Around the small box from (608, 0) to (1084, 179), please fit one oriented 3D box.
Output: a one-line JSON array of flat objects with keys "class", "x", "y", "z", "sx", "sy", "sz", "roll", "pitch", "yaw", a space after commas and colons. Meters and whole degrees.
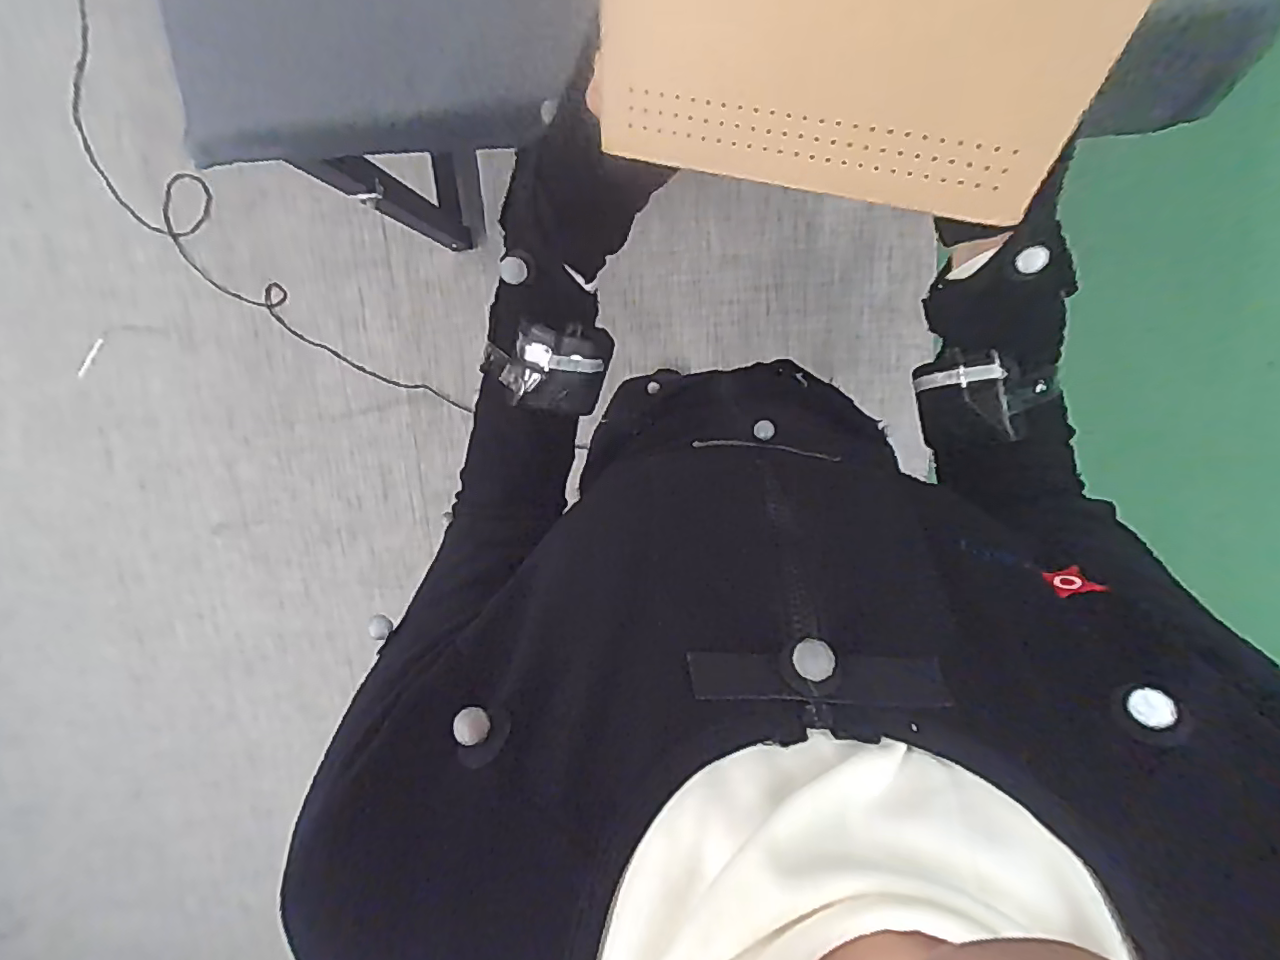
[{"class": "small box", "x": 0.091, "y": -0.249, "z": 0.221, "sx": 0.179, "sy": 0.168, "sz": 0.176, "roll": 16, "pitch": 143, "yaw": 9}]
